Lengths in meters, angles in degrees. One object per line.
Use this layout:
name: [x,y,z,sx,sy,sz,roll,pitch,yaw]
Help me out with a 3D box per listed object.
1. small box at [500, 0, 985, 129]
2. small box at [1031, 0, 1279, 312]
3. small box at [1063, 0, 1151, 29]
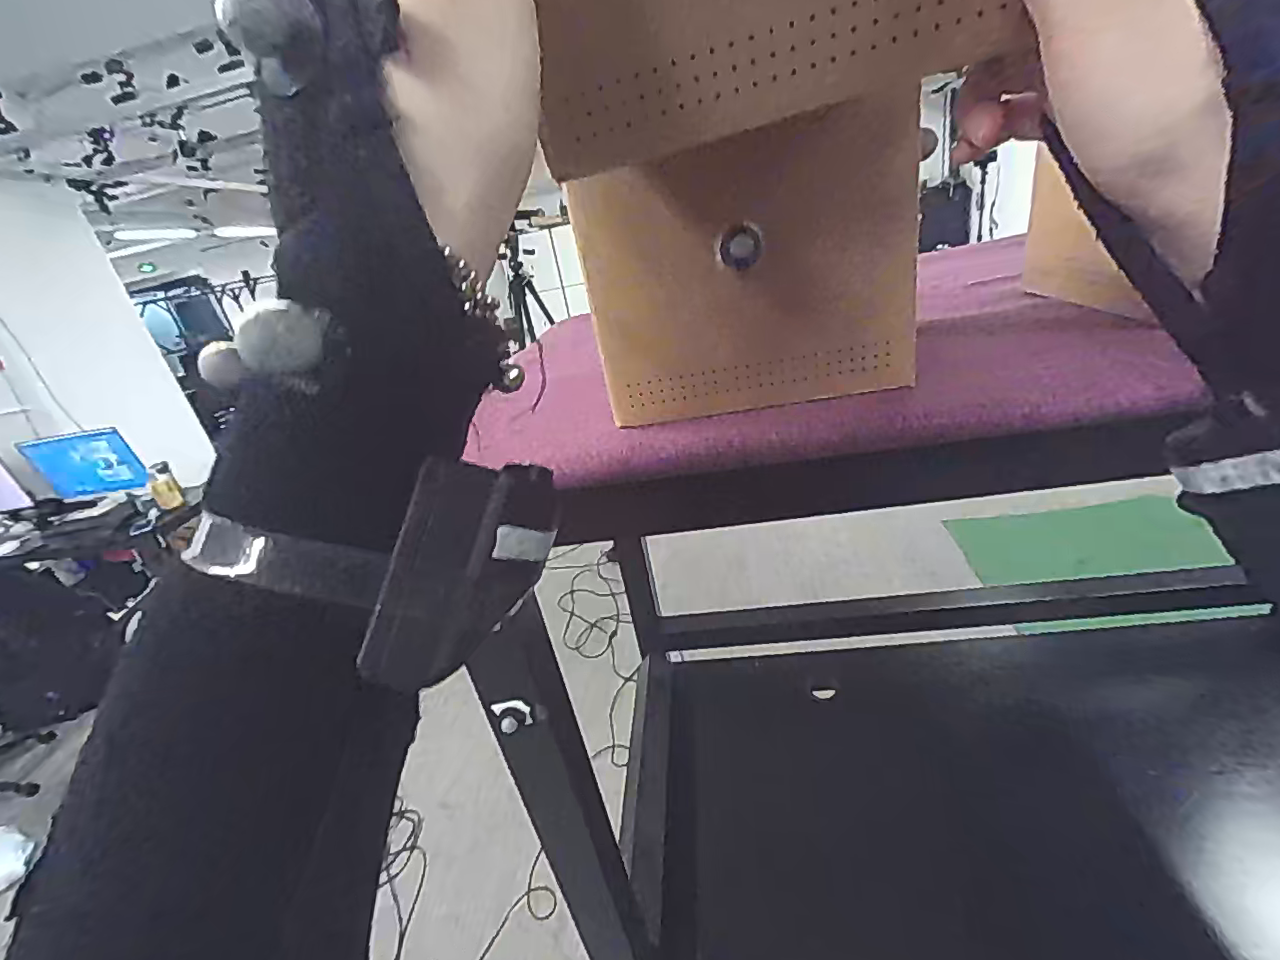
small box: [0.025,-0.246,0.167,0.179,0.176,0.168,-11,54,11]
small box: [0.378,-0.209,0.331,0.168,0.176,0.179,-9,24,9]
small box: [0.346,-0.359,0.266,0.179,0.176,0.168,-6,26,11]
